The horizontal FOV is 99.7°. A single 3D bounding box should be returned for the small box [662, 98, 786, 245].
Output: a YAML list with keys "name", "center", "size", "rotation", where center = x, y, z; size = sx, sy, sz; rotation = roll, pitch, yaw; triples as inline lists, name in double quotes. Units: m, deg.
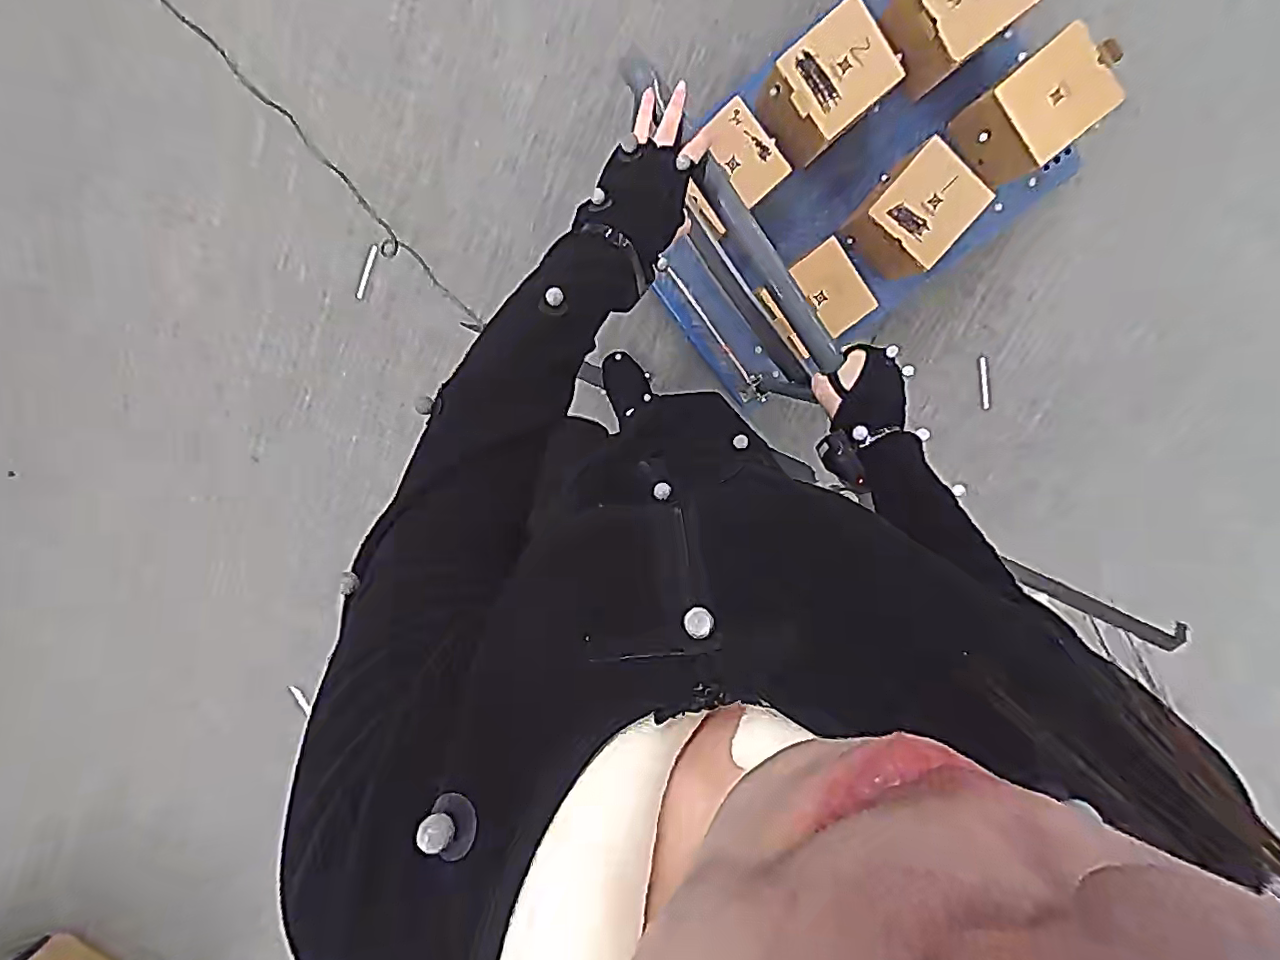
- name: "small box"
  center: [0.160, -0.602, 1.085]
  size: [0.179, 0.176, 0.168]
  rotation: [-40, 102, 9]

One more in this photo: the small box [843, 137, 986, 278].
- name: "small box"
  center: [0.541, -0.539, 1.102]
  size: [0.168, 0.176, 0.179]
  rotation: [40, 100, -9]

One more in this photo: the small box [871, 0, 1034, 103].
- name: "small box"
  center: [0.576, -0.870, 1.019]
  size: [0.179, 0.176, 0.168]
  rotation: [-35, 101, 9]

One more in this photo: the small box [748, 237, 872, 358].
- name: "small box"
  center: [0.345, -0.376, 1.143]
  size: [0.179, 0.176, 0.168]
  rotation: [-36, 102, 8]

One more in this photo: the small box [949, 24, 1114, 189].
- name: "small box"
  center: [0.746, -0.712, 1.059]
  size: [0.179, 0.176, 0.168]
  rotation: [-40, 100, 9]
